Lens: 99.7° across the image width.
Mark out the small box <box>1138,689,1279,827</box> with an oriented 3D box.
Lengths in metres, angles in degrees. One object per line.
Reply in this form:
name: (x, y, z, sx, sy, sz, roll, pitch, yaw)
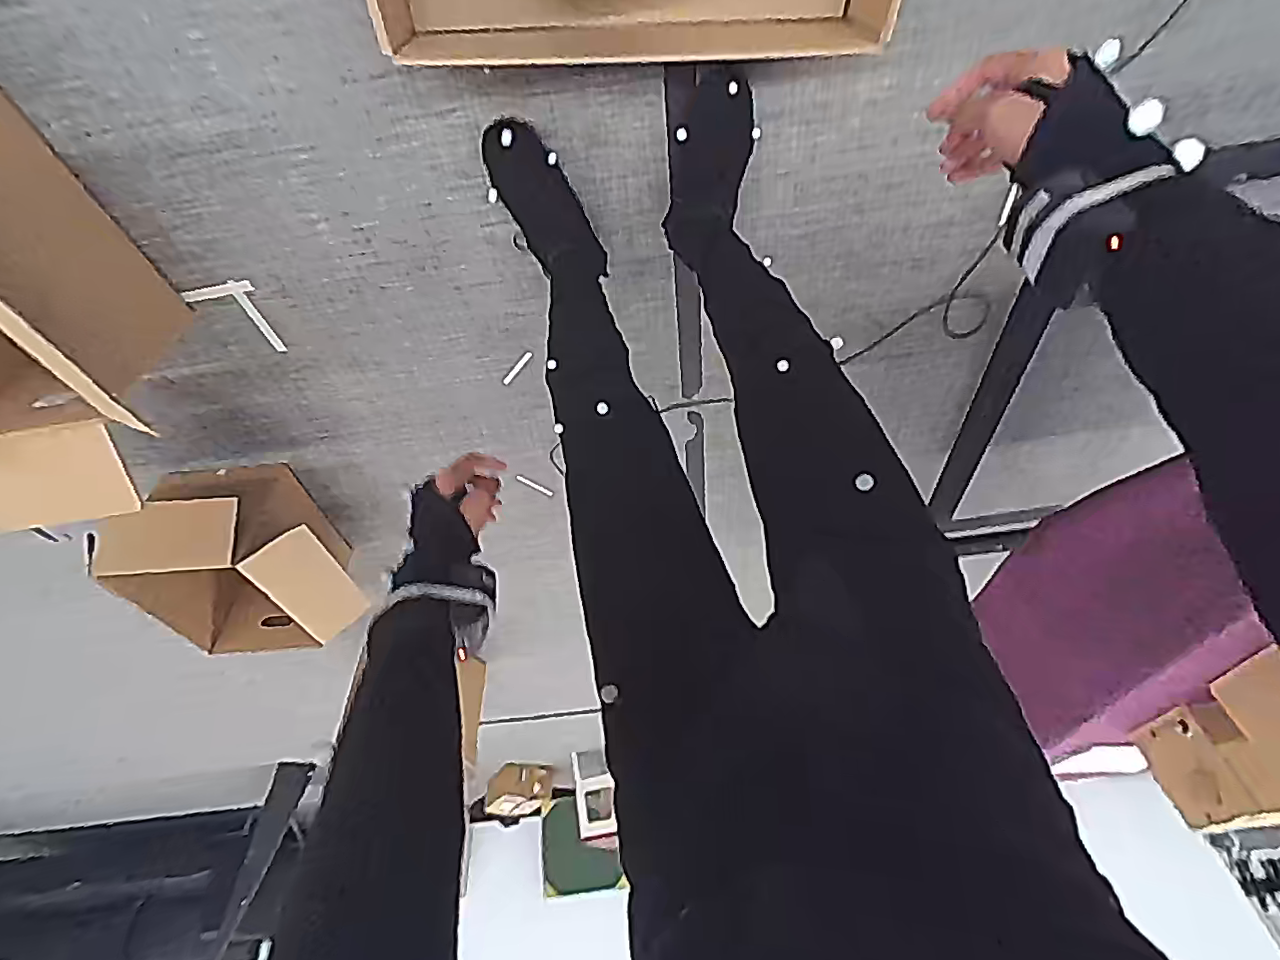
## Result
small box: (1.036, 0.477, 0.932, 0.179, 0.176, 0.168, -6, 139, 0)
